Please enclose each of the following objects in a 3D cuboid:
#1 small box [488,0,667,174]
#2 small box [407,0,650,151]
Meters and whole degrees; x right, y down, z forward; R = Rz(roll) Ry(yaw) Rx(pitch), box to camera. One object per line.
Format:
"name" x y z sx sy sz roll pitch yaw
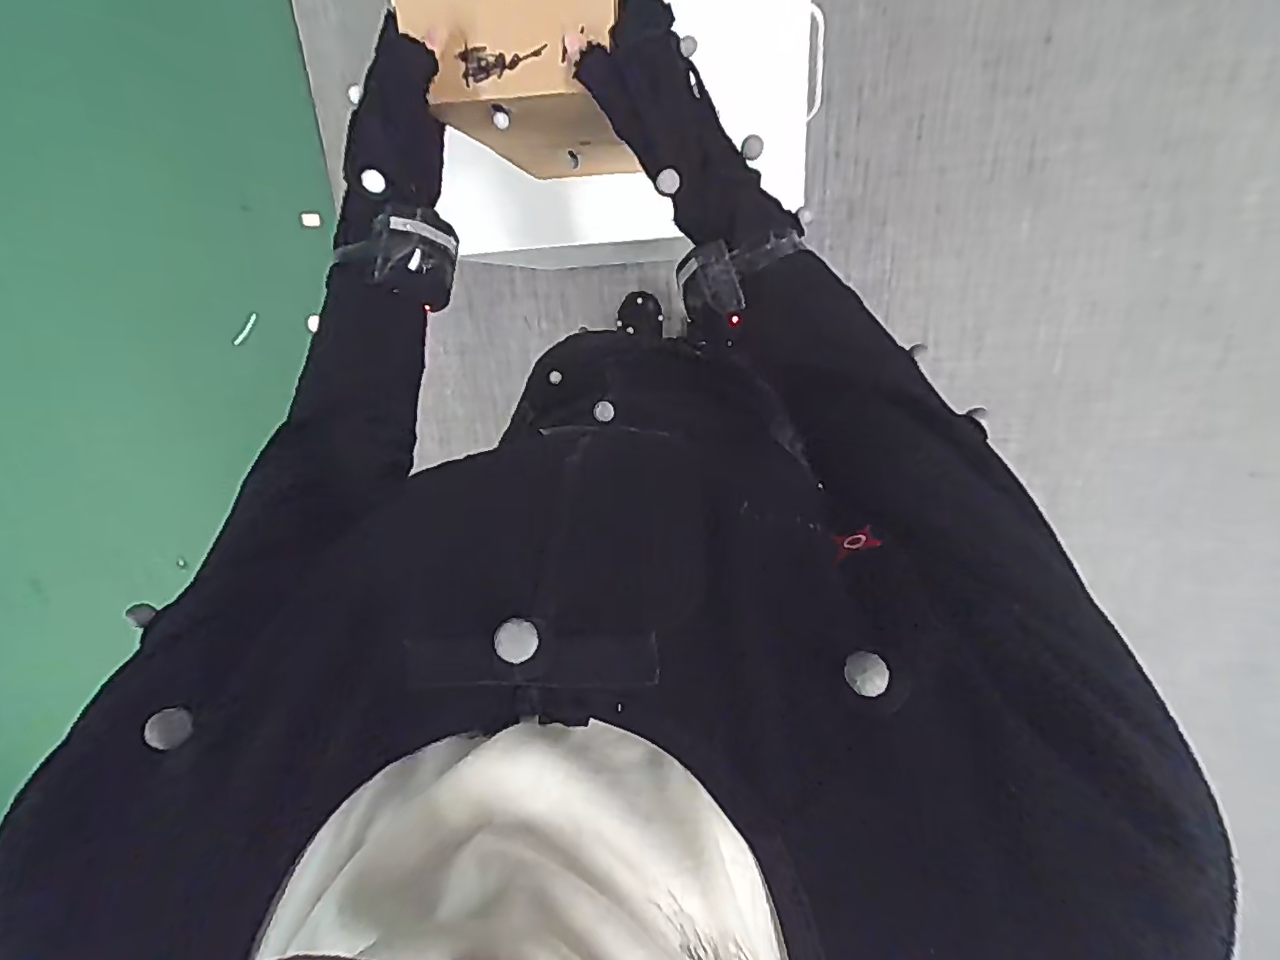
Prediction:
"small box" -0.066 -0.456 0.610 0.179 0.176 0.168 1 110 8
"small box" -0.084 -0.403 0.460 0.168 0.176 0.179 -1 111 8
